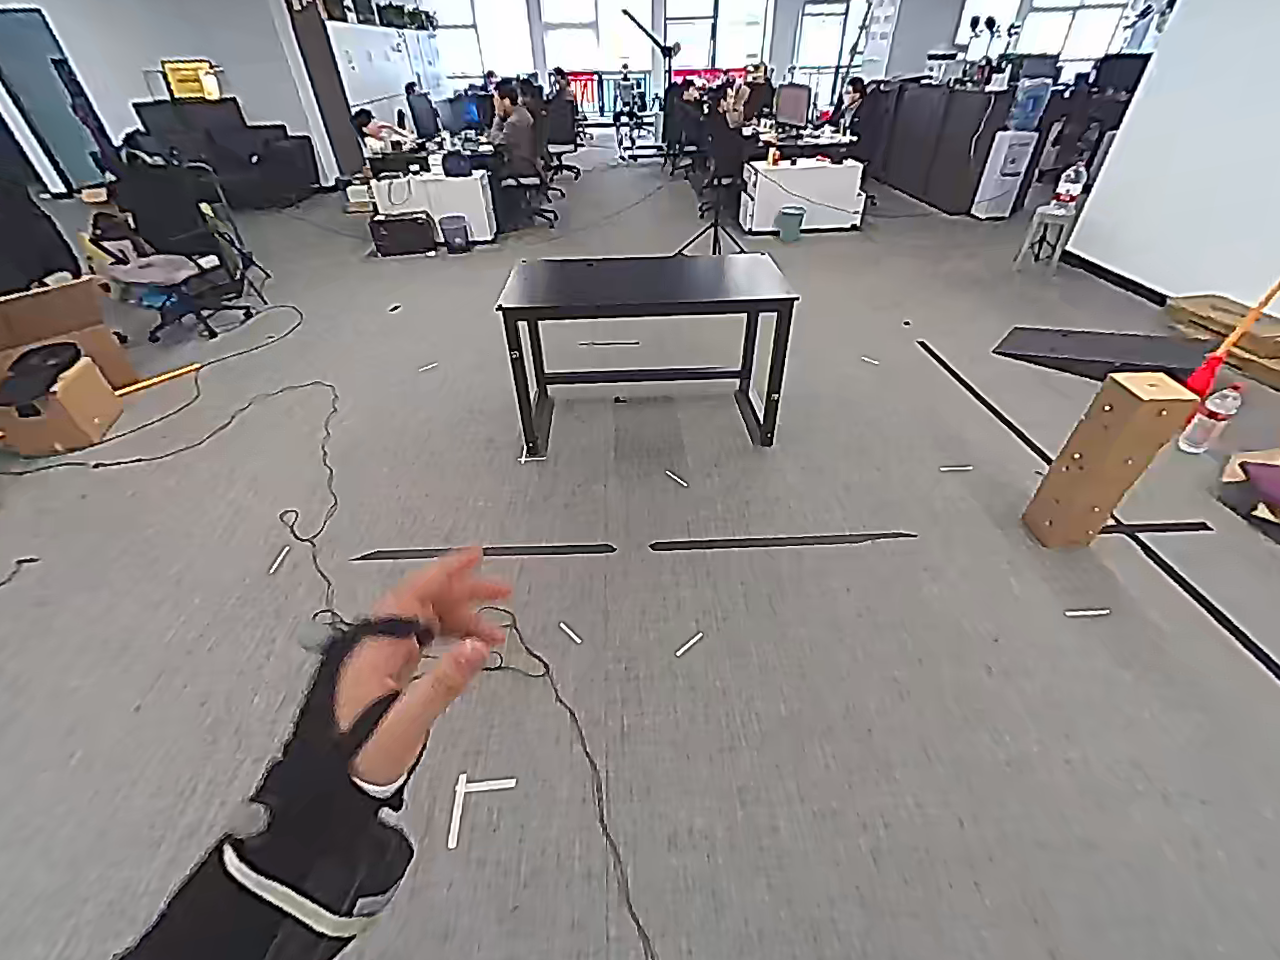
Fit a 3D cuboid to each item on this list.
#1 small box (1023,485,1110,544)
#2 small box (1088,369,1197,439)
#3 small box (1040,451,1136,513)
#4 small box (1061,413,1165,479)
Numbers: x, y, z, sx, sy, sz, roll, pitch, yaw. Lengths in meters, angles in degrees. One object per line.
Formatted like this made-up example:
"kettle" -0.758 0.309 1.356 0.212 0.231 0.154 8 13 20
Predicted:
"small box" 1.625 0.132 2.071 0.168 0.176 0.179 -3 38 -1
"small box" 1.611 -0.245 1.752 0.179 0.176 0.168 -1 40 1
"small box" 1.618 0.006 1.966 0.179 0.176 0.168 -4 39 -3
"small box" 1.614 -0.119 1.859 0.179 0.176 0.168 -5 39 -2
